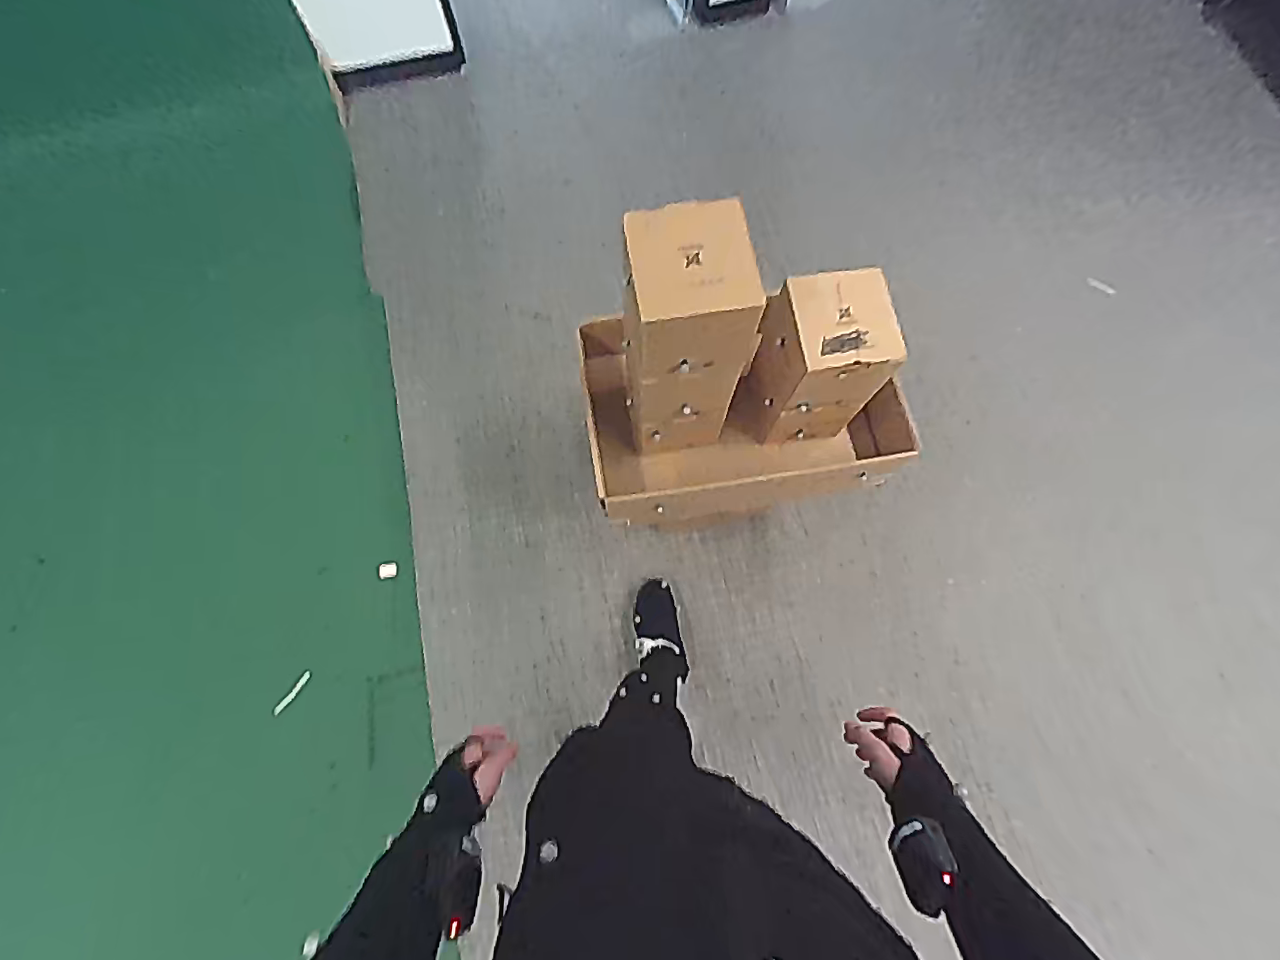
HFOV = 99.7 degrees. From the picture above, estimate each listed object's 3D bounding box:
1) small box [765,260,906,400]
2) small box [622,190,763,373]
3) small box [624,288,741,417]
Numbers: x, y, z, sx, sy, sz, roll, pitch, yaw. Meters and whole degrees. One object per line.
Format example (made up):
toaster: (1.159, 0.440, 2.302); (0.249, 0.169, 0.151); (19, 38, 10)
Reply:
small box: (0.329, -0.250, 0.944); (0.168, 0.176, 0.179); (-7, 73, -2)
small box: (0.065, -0.278, 0.780); (0.168, 0.176, 0.179); (-8, 73, -2)
small box: (0.064, -0.230, 0.936); (0.168, 0.176, 0.179); (-9, 73, -2)
